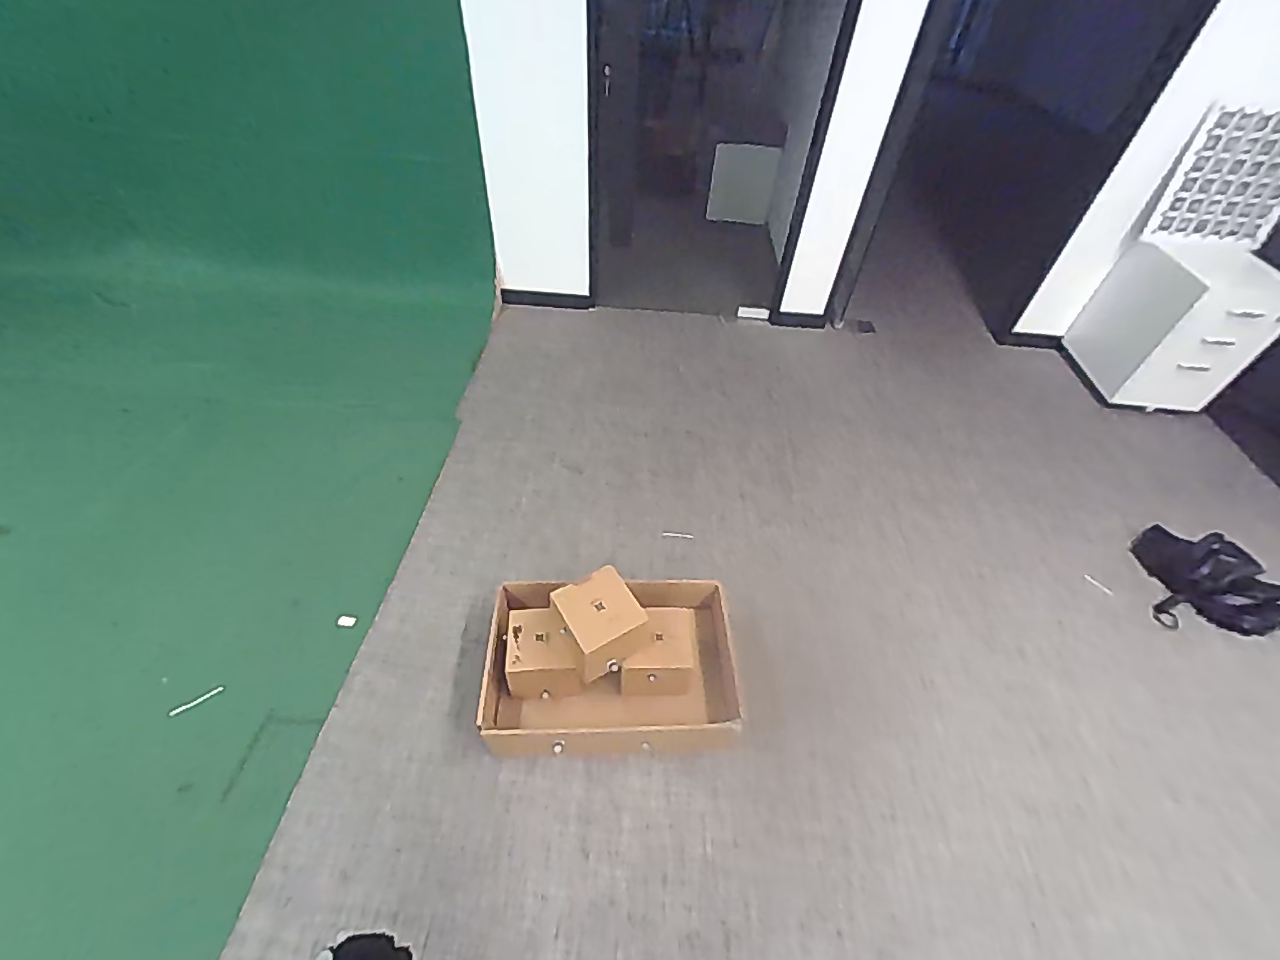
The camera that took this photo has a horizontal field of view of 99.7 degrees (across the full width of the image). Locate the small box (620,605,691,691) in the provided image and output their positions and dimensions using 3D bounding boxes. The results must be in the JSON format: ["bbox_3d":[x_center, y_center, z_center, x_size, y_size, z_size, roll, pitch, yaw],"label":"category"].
[{"bbox_3d":[0.034,0.444,1.421,0.179,0.176,0.168,1,47,-3],"label":"small box"}]

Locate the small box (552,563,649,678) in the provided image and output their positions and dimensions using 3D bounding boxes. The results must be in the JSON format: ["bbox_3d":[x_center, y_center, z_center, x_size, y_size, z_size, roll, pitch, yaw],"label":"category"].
[{"bbox_3d":[-0.100,0.336,1.291,0.168,0.176,0.179,-24,55,-24],"label":"small box"}]

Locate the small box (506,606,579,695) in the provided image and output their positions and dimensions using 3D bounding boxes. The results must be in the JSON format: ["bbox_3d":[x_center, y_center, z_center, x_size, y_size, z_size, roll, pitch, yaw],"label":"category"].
[{"bbox_3d":[-0.246,0.442,1.399,0.179,0.176,0.168,0,46,-8],"label":"small box"}]
